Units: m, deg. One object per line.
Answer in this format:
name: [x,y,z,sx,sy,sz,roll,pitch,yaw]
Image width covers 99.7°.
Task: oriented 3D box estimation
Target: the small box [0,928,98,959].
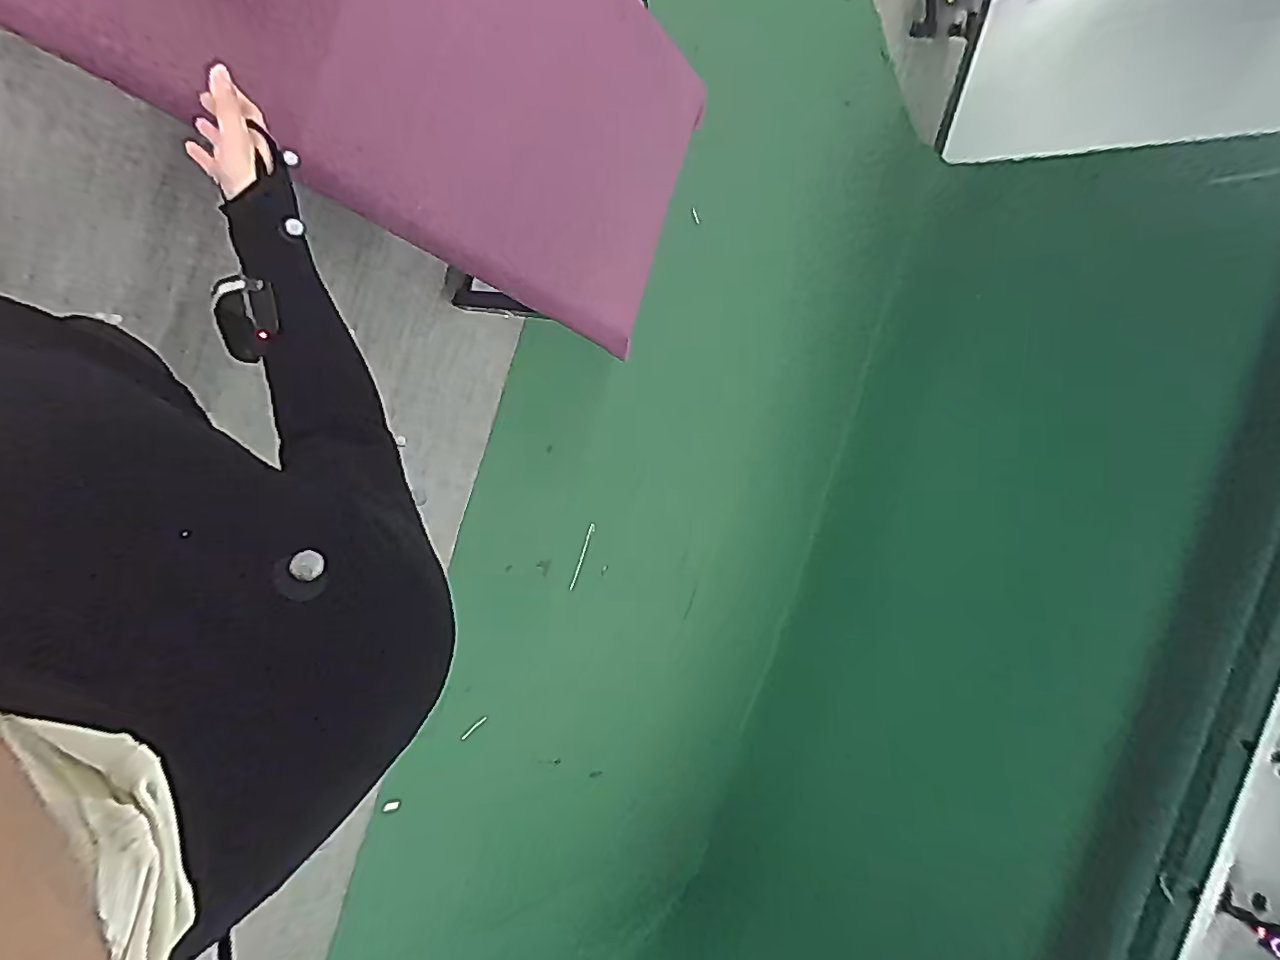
small box: [-1.396,1.209,1.254,0.168,0.176,0.179,22,89,-51]
